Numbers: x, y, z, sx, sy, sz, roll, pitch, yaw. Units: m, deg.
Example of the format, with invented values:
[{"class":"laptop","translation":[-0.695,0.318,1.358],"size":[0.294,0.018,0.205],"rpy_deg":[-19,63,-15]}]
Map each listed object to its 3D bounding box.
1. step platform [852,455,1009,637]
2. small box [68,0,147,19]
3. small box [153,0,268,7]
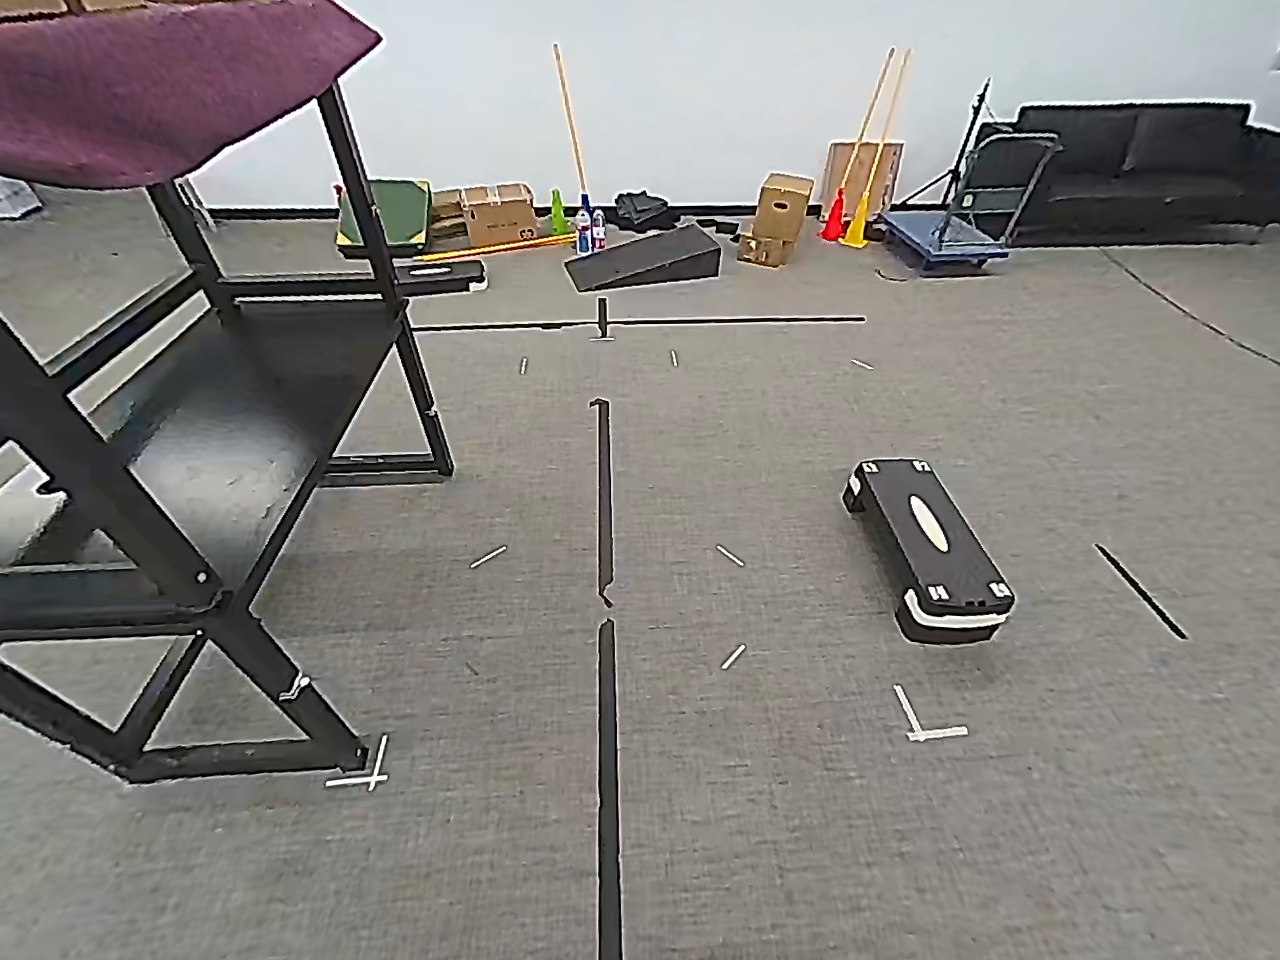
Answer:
[{"class":"step platform","translation":[0.976,0.192,1.884],"size":[0.286,0.204,0.684],"rpy_deg":[2,42,2]},{"class":"small box","translation":[-0.895,-0.799,0.800],"size":[0.168,0.176,0.179],"rpy_deg":[-6,44,-6]},{"class":"small box","translation":[-0.872,-1.039,1.053],"size":[0.168,0.176,0.179],"rpy_deg":[0,43,1]}]
